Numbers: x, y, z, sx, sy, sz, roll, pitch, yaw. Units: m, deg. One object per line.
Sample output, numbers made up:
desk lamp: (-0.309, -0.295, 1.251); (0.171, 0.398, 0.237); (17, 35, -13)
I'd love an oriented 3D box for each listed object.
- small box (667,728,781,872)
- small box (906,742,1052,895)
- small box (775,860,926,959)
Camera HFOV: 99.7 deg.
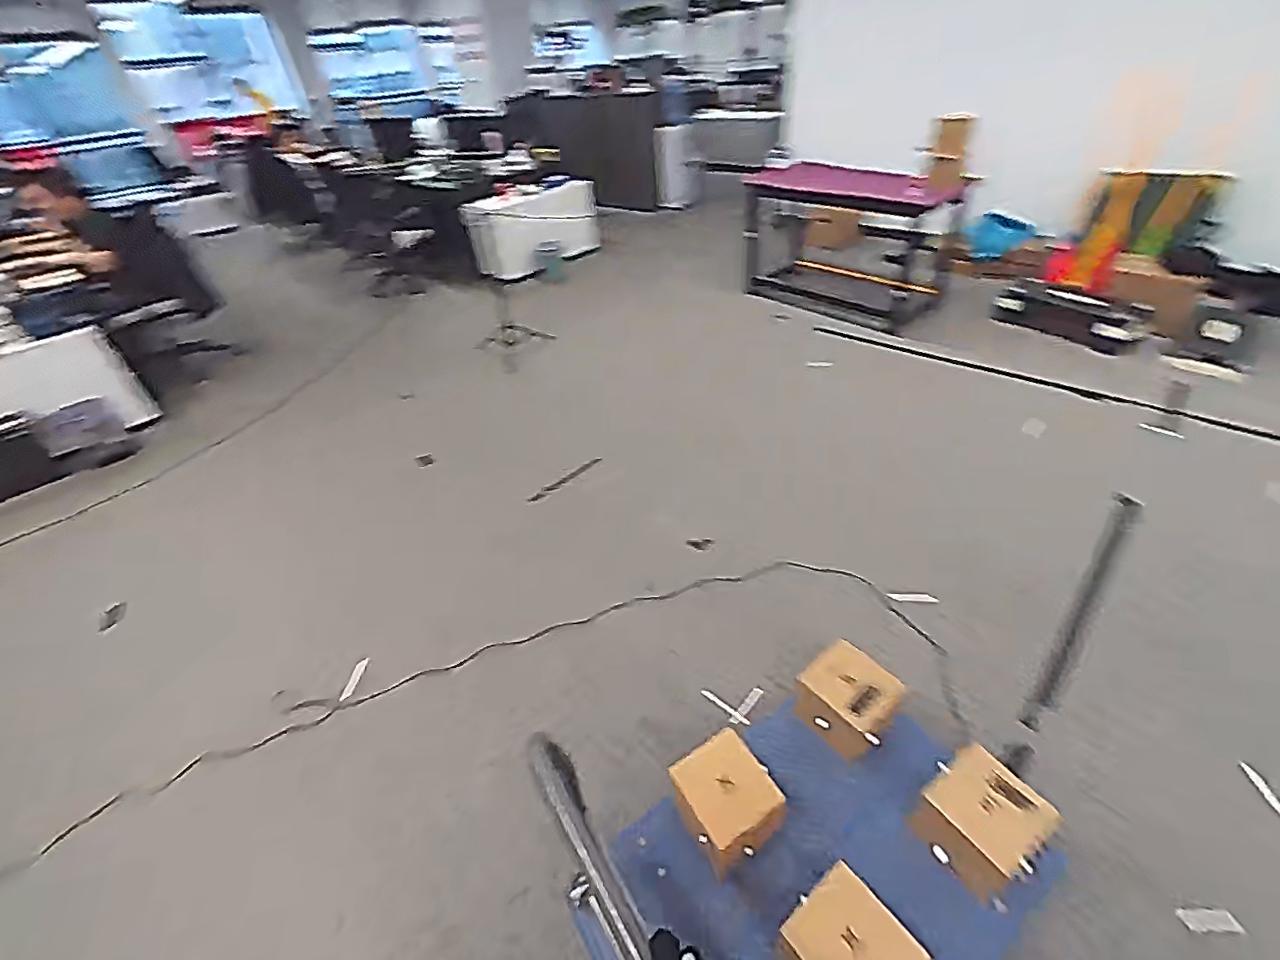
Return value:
small box: (0.172, 0.678, 1.146); (0.168, 0.176, 0.179); (-25, 44, -22)
small box: (0.664, 0.675, 1.080); (0.179, 0.176, 0.168); (-27, 43, -22)
small box: (0.353, 0.824, 0.940); (0.168, 0.176, 0.179); (-29, 44, -25)
